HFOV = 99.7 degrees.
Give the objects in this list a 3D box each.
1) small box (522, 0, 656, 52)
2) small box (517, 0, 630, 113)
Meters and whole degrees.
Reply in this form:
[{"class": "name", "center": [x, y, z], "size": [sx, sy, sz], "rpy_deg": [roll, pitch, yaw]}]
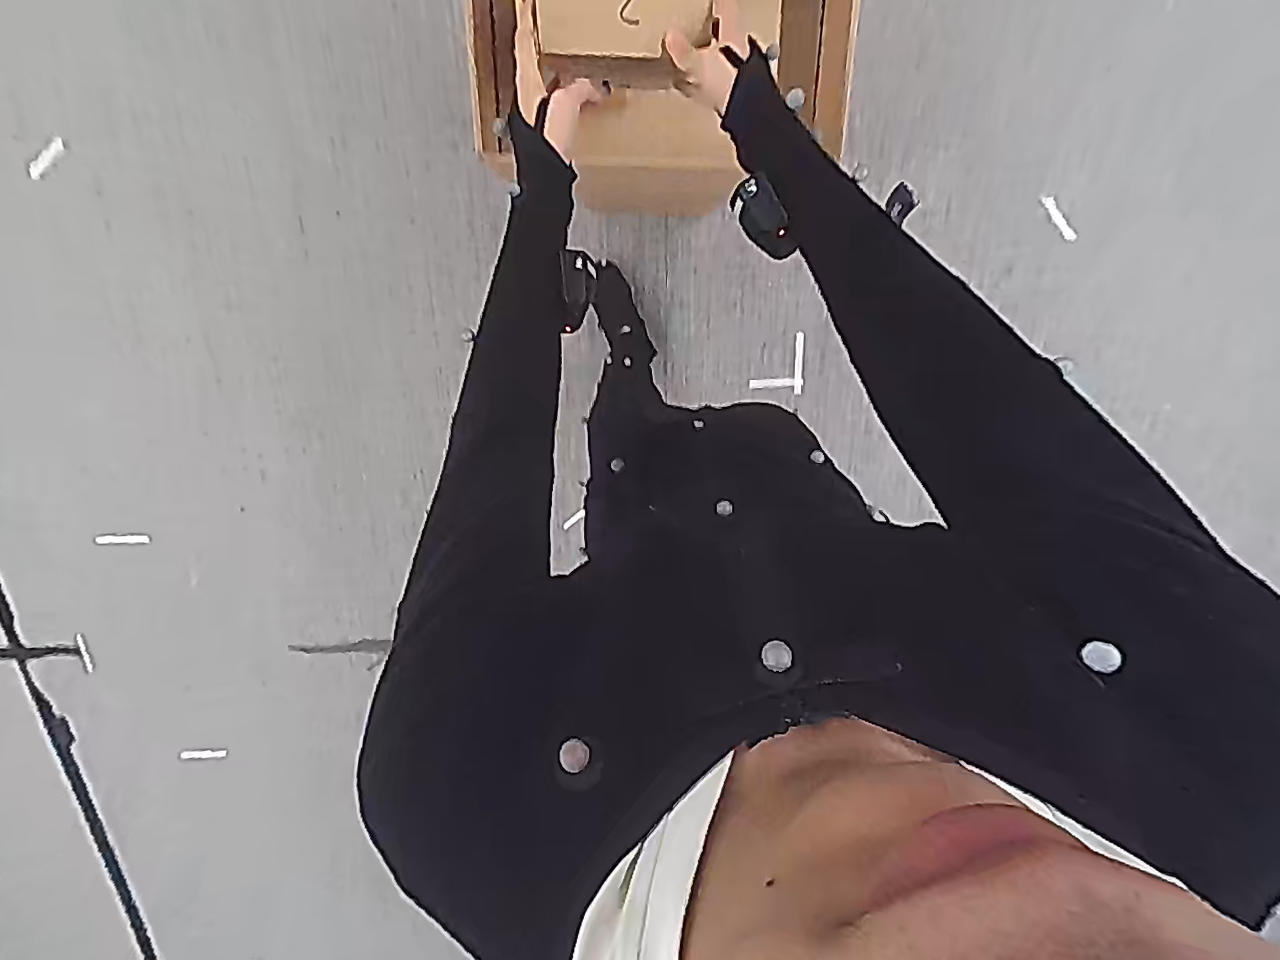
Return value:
[{"class": "small box", "center": [-0.068, -0.711, 0.727], "size": [0.179, 0.176, 0.168], "rpy_deg": [-1, 106, -3]}, {"class": "small box", "center": [-0.107, -0.737, 0.889], "size": [0.168, 0.176, 0.179], "rpy_deg": [-5, 107, -1]}]
